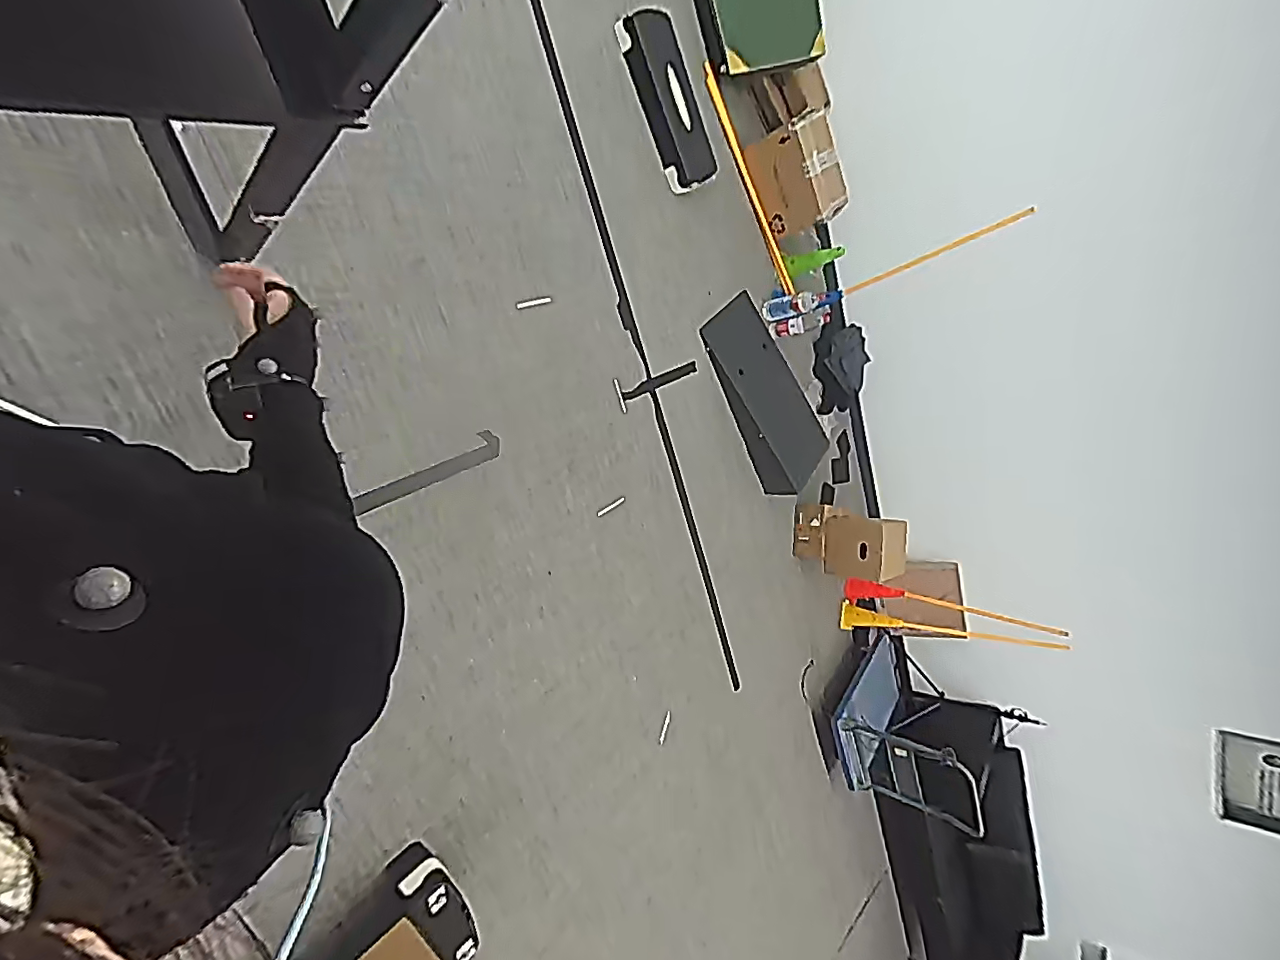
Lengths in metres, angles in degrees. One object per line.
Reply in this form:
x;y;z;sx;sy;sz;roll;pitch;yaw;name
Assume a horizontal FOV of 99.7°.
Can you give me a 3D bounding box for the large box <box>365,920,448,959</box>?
-0.546;1.277;1.123;0.408;0.320;0.320;-27;108;-44;large box
